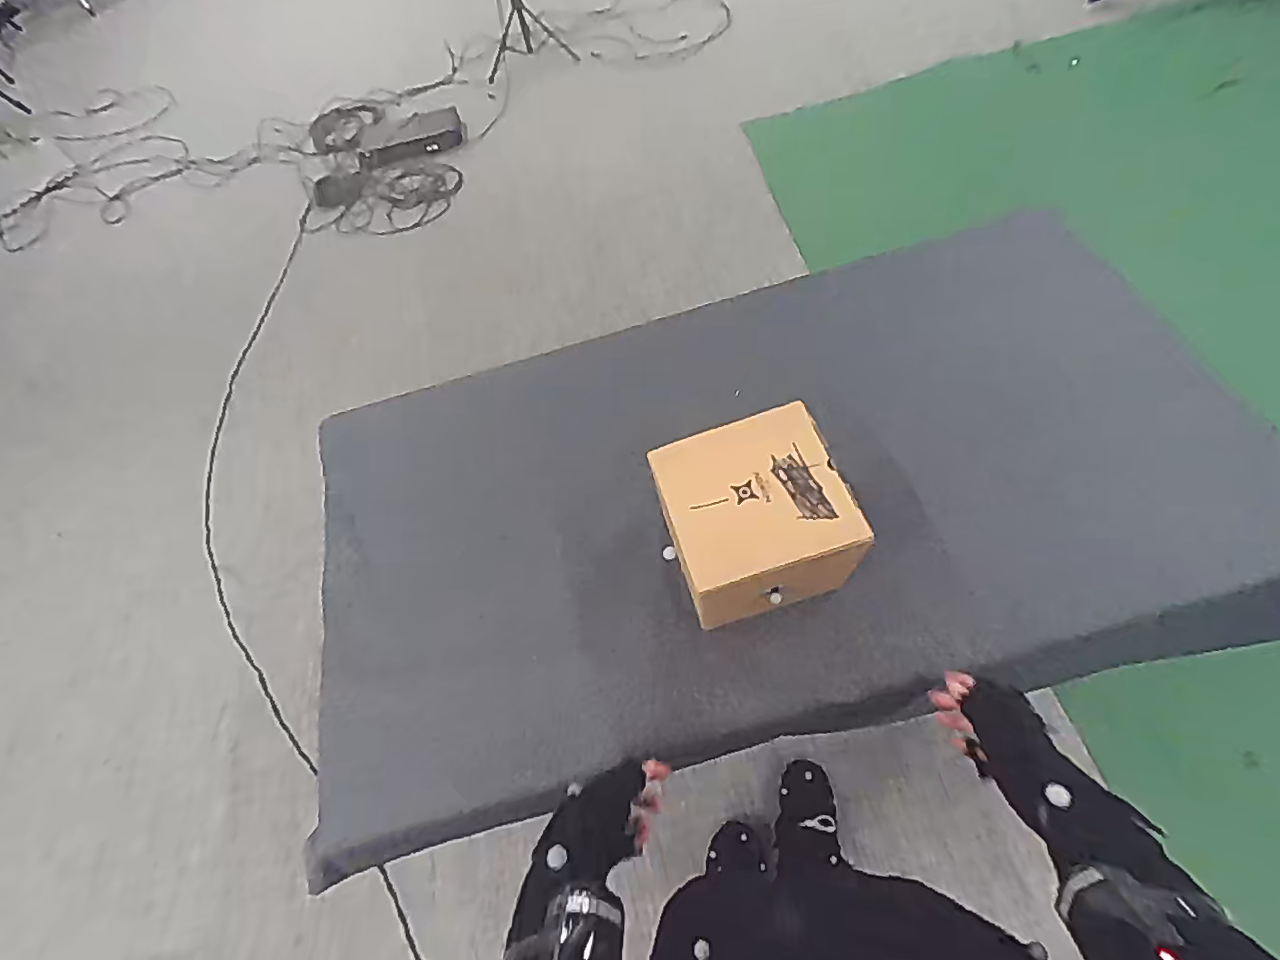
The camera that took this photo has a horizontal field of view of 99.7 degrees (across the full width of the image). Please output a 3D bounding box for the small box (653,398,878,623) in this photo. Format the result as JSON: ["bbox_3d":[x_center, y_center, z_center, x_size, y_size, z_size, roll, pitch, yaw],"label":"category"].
[{"bbox_3d":[0.126,0.042,0.606,0.179,0.176,0.168,-20,63,-3],"label":"small box"}]
